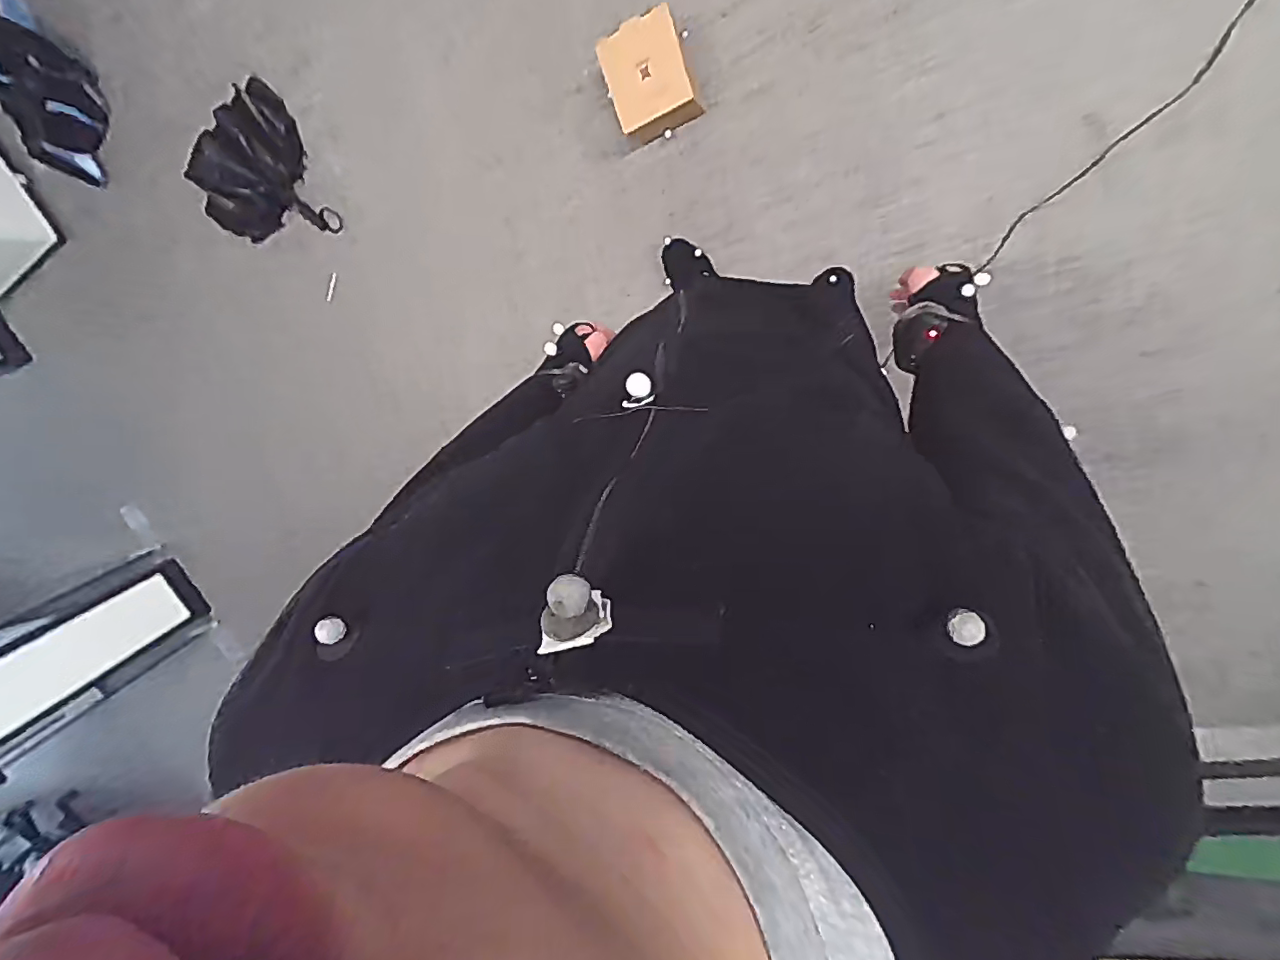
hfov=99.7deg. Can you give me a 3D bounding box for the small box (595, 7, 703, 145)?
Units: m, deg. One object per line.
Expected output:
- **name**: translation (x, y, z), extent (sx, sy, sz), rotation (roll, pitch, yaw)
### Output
- **small box**: translation (0.028, -0.869, 1.186), extent (0.168, 0.176, 0.179), rotation (-15, 110, 22)
